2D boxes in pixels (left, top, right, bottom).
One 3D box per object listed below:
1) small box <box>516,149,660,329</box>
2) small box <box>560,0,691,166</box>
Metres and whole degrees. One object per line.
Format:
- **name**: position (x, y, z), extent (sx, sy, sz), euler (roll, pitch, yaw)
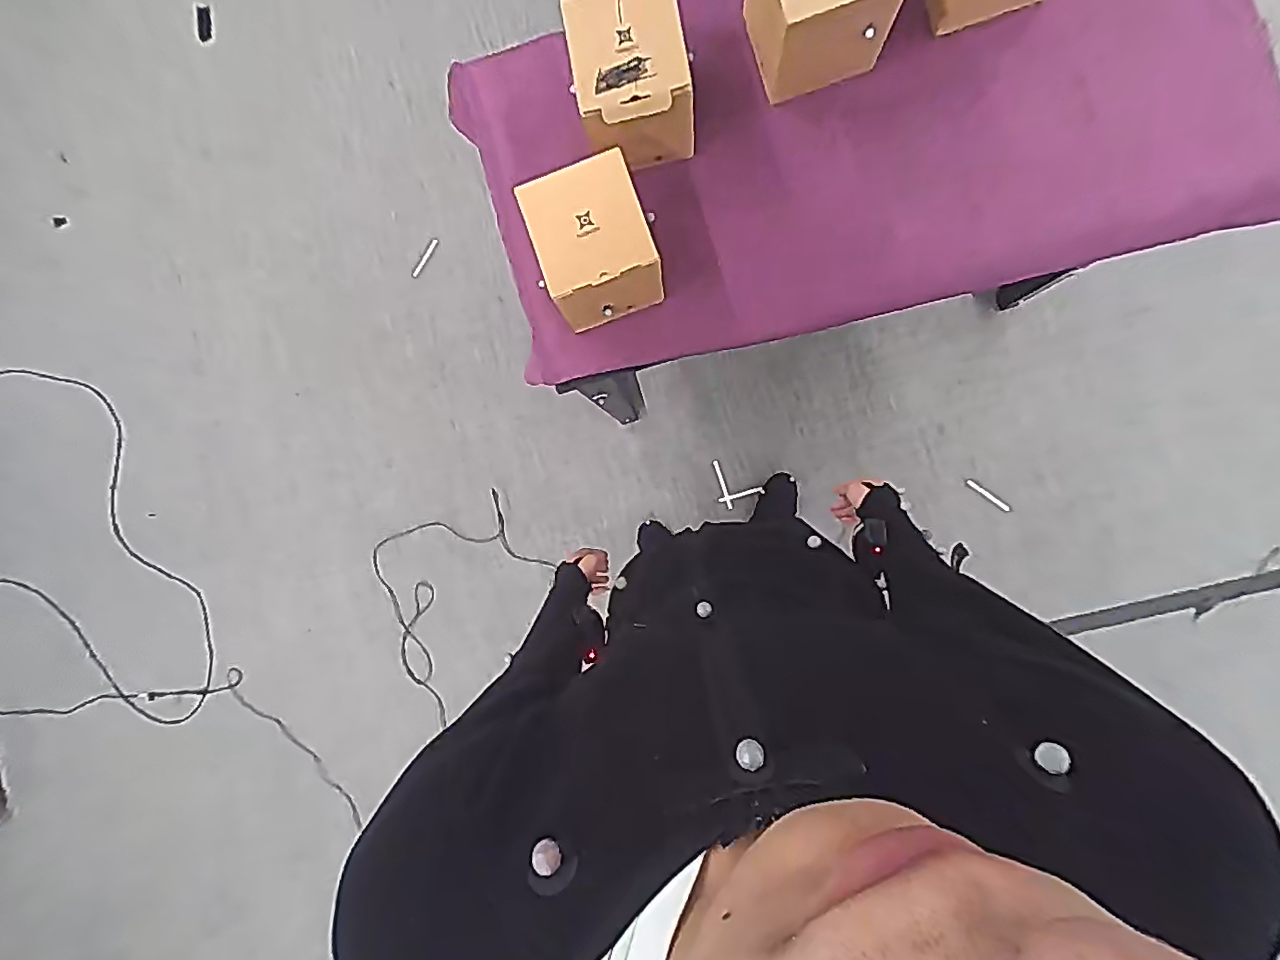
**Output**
- **small box**: position (-0.072, -0.364, 0.848), extent (0.168, 0.176, 0.179), euler (-20, 89, 4)
- **small box**: position (-0.014, -0.619, 0.844), extent (0.168, 0.176, 0.179), euler (-10, 89, 5)
